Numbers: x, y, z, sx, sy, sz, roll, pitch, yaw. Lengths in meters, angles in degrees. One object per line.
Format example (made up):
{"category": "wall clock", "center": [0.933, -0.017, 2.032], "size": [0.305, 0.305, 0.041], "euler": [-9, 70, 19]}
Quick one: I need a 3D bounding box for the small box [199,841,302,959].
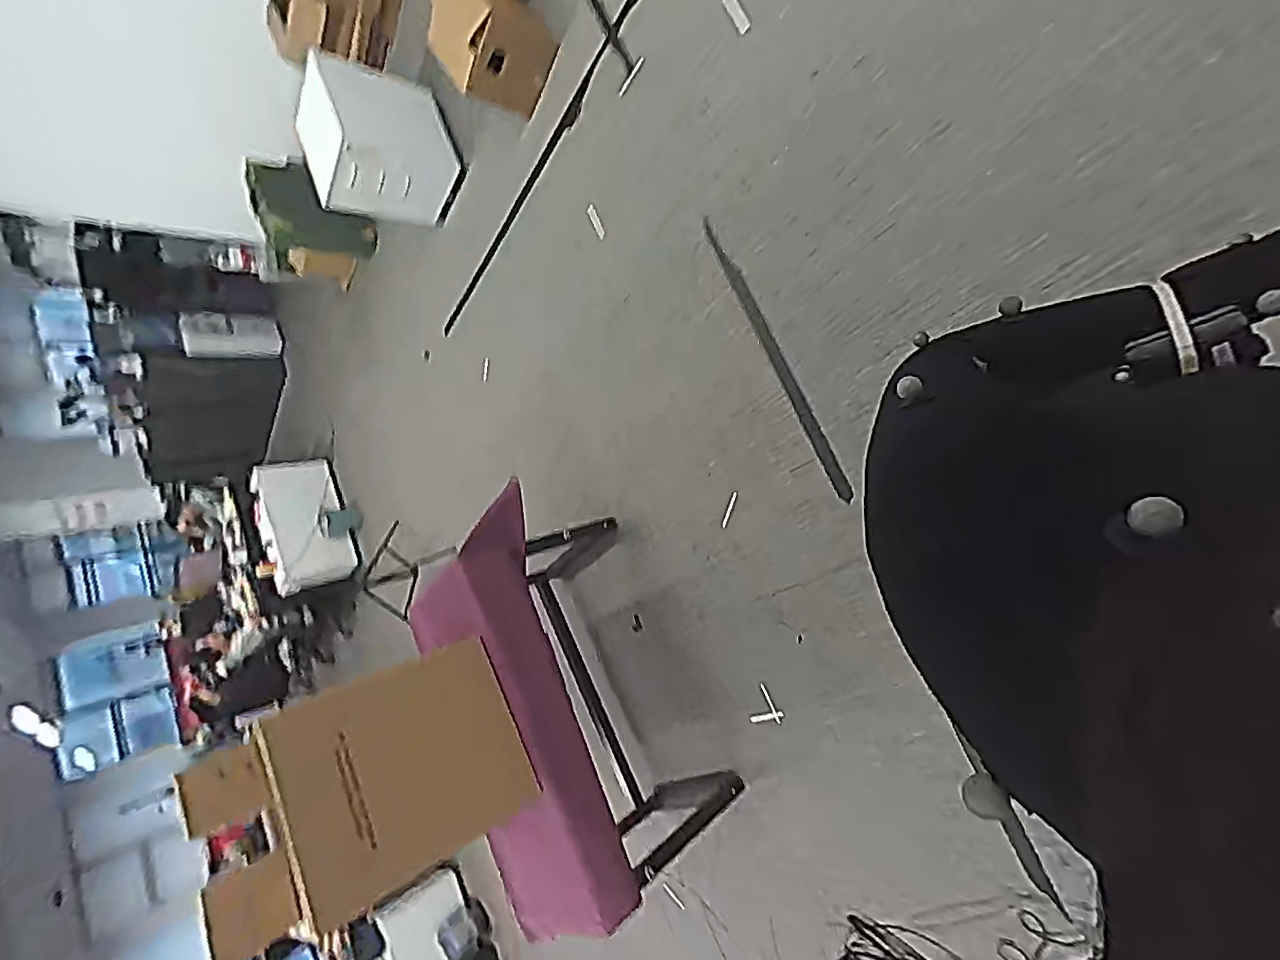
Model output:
{"category": "small box", "center": [-0.943, 1.015, 1.310], "size": [0.168, 0.176, 0.179], "euler": [-39, 70, 42]}

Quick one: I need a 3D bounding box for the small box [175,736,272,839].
{"category": "small box", "center": [-1.062, 0.781, 1.382], "size": [0.179, 0.176, 0.168], "euler": [-44, 68, 42]}
